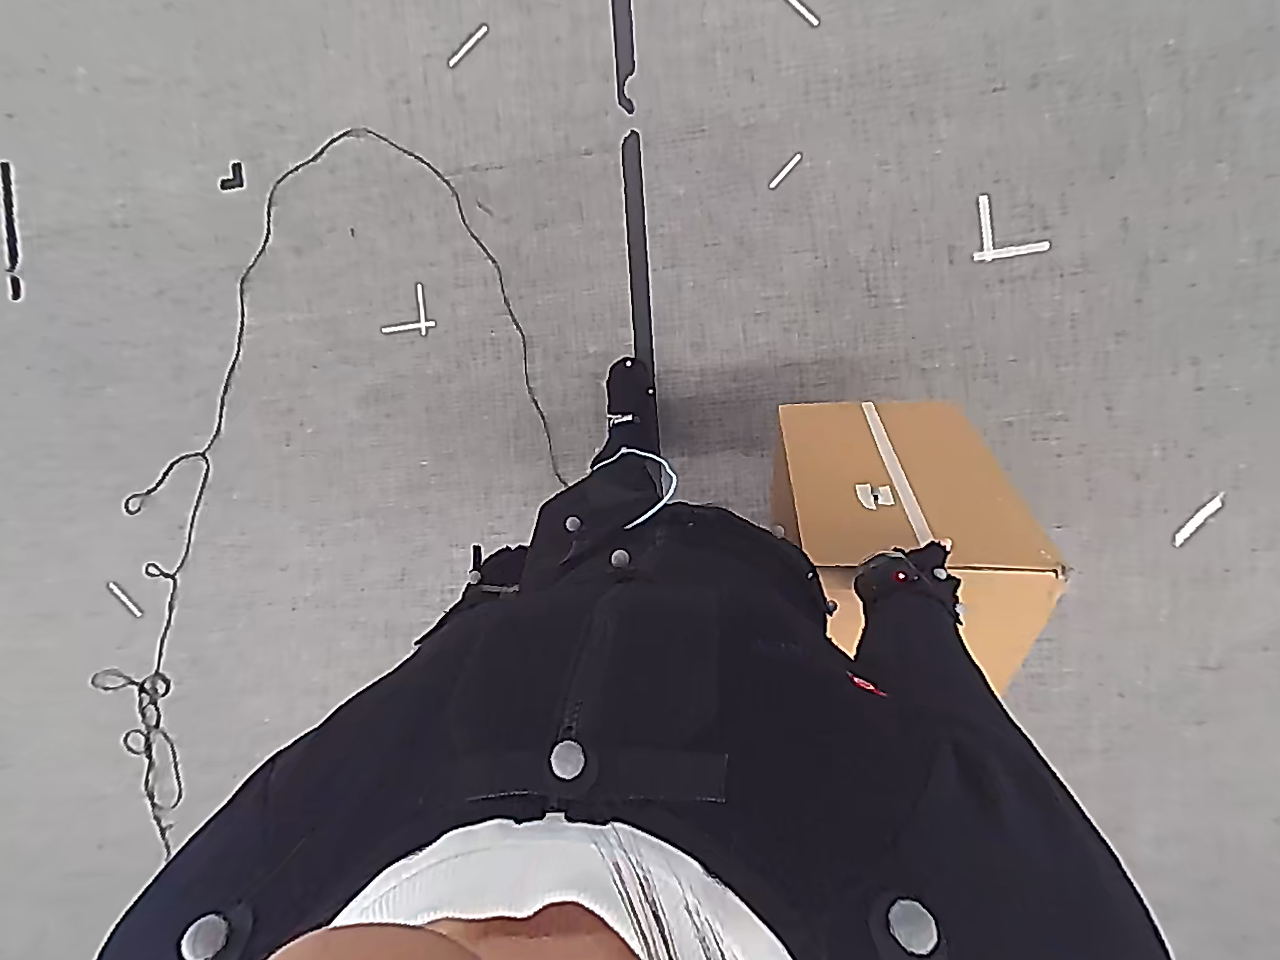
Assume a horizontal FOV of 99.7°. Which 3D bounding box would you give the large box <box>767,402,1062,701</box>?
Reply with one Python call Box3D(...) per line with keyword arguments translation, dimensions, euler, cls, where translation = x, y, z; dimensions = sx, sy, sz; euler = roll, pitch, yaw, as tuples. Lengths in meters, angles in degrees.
Box3D(translation=(0.393, 0.104, 0.915), dimensions=(0.320, 0.408, 0.320), euler=(-1, 130, 9), cls="large box")
